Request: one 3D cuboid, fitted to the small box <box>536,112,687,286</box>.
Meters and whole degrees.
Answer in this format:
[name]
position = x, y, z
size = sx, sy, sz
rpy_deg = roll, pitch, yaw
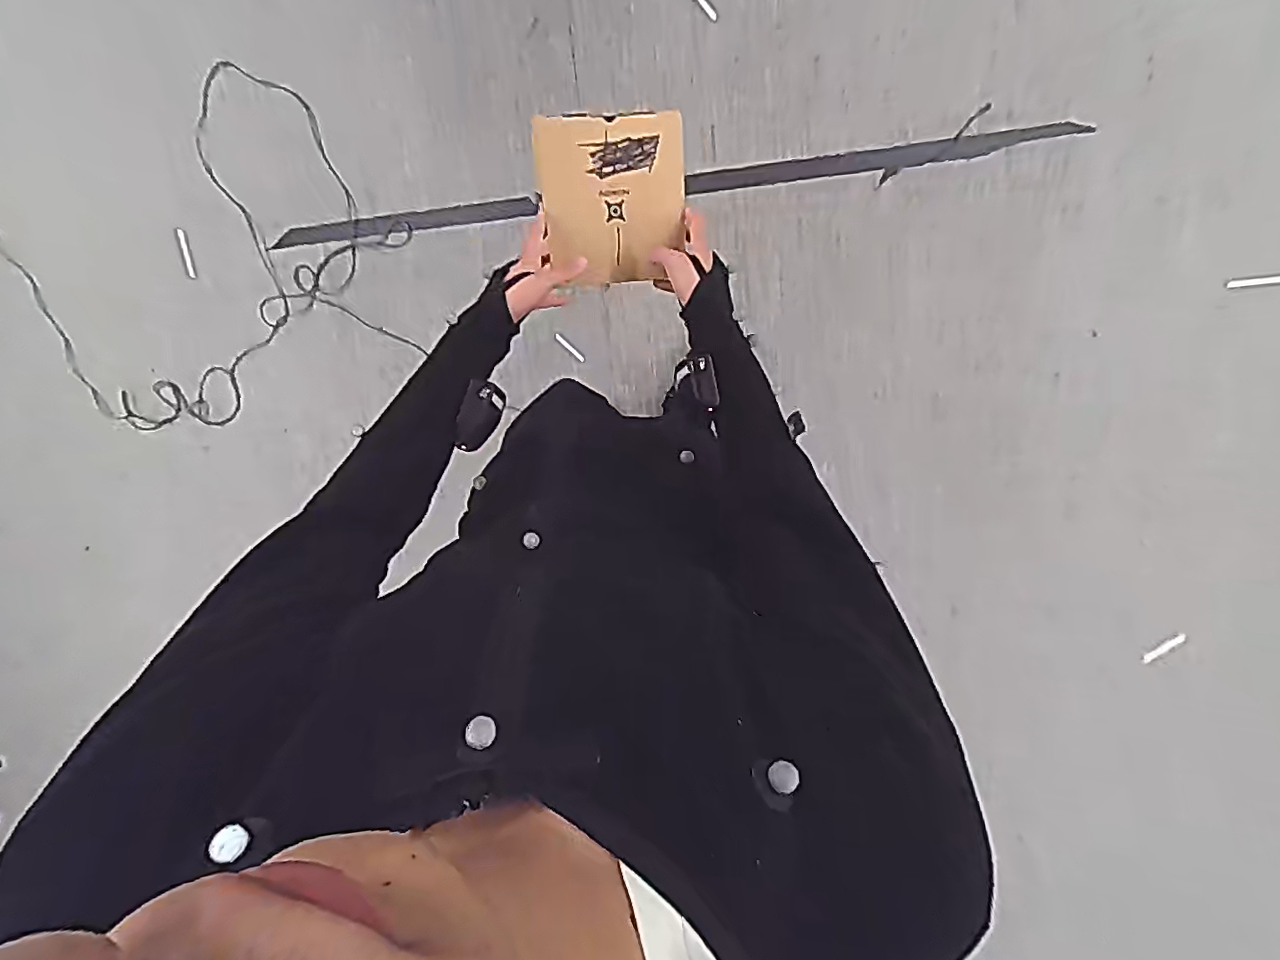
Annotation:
[small box]
position = -0.040, -0.348, 0.691
size = 0.168, 0.176, 0.179
rpy_deg = -7, 114, -8
